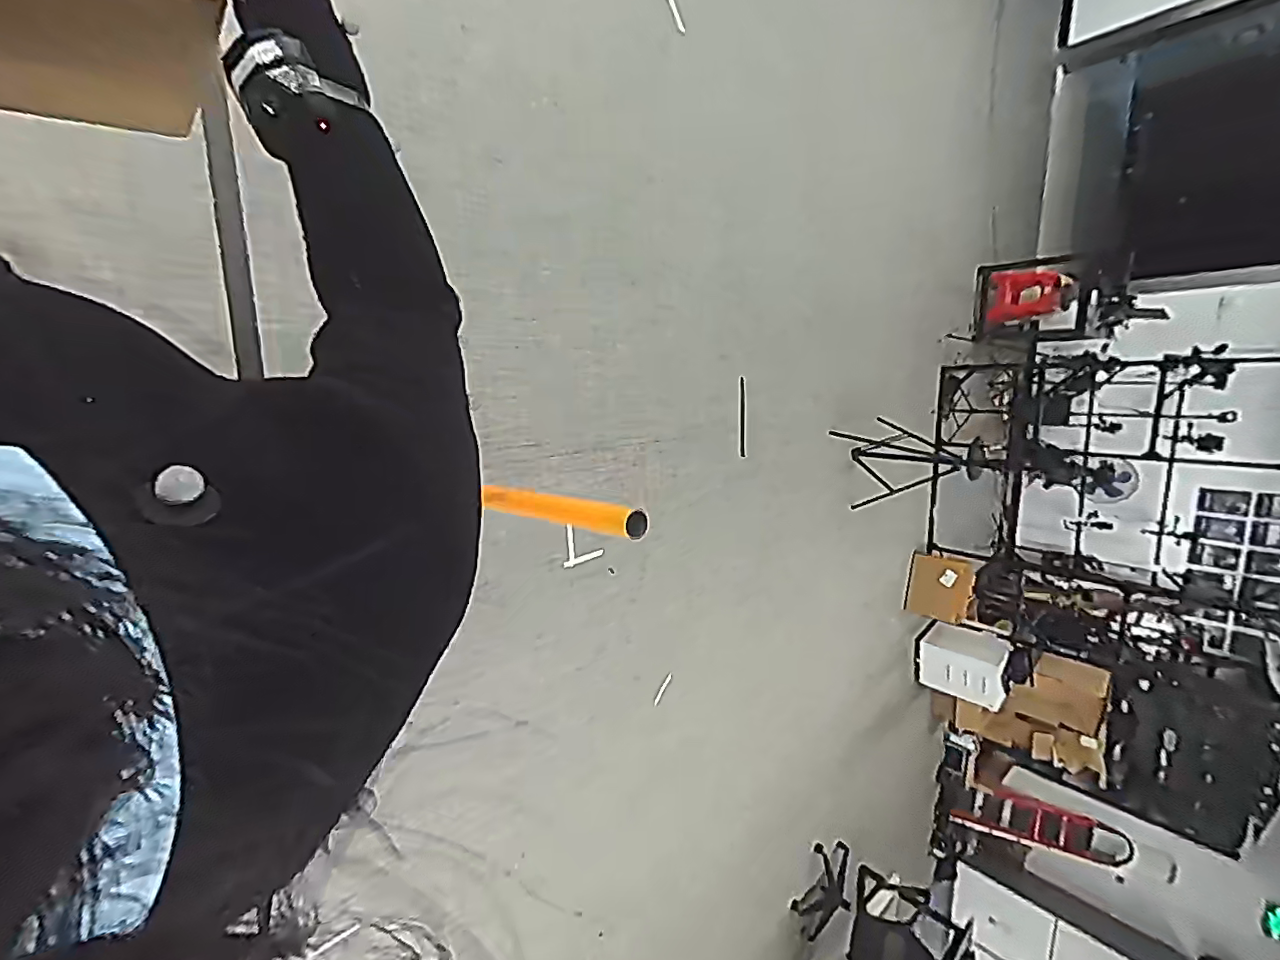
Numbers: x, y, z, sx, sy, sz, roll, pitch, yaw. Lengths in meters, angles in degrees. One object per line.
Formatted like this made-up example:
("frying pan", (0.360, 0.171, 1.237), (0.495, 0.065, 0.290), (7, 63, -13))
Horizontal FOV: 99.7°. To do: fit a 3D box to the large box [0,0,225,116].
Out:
("large box", (-0.548, -0.475, 0.328), (0.408, 0.320, 0.320), (-16, 109, -40))
